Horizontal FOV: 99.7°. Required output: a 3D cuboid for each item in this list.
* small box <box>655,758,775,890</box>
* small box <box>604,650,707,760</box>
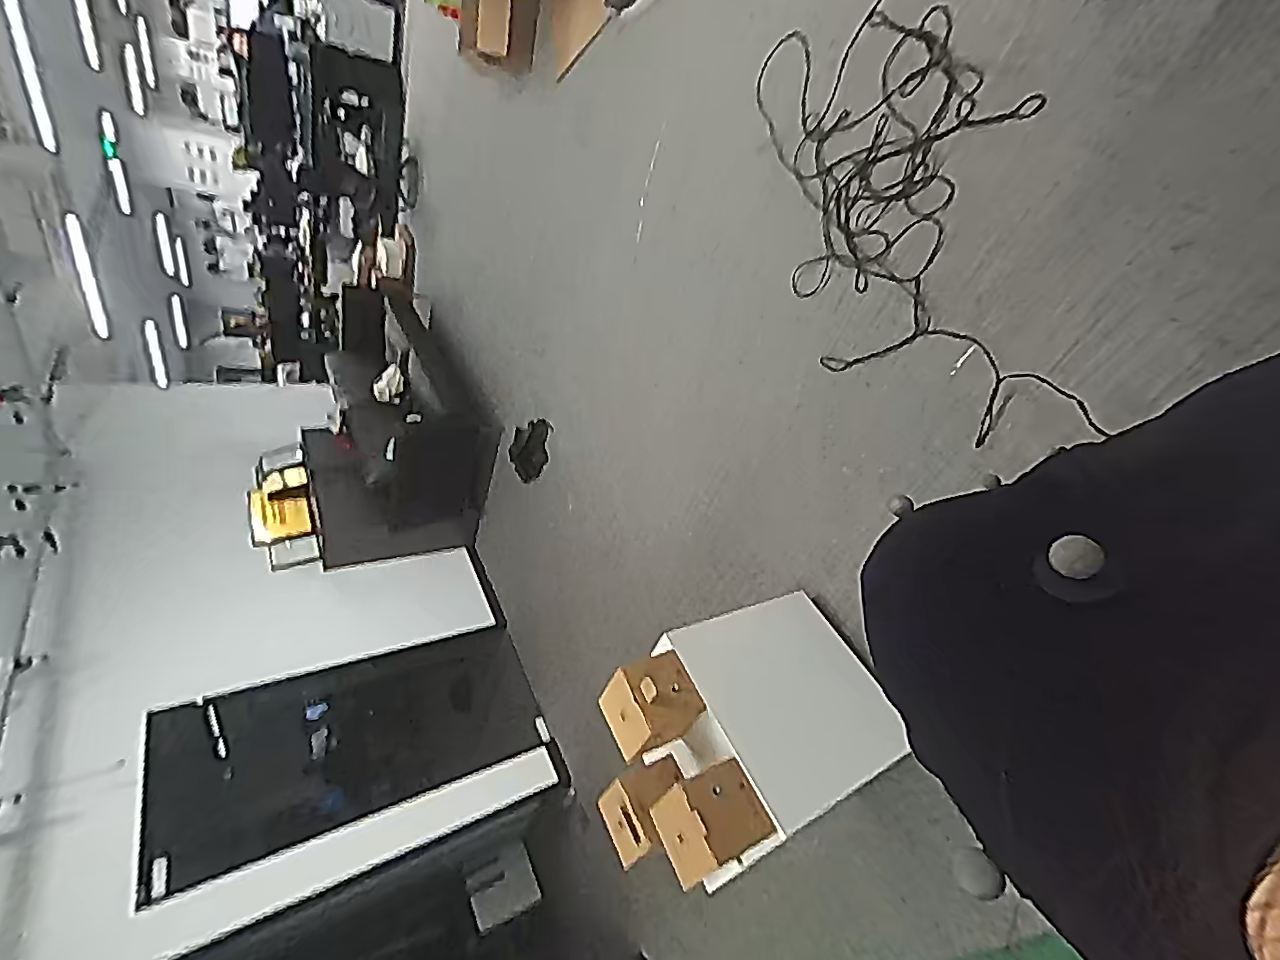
[{"bbox_3d":[0.165,0.738,1.171,0.168,0.176,0.179,58,139,36],"label":"small box"},{"bbox_3d":[0.037,0.548,1.327,0.168,0.176,0.179,56,137,35],"label":"small box"}]
